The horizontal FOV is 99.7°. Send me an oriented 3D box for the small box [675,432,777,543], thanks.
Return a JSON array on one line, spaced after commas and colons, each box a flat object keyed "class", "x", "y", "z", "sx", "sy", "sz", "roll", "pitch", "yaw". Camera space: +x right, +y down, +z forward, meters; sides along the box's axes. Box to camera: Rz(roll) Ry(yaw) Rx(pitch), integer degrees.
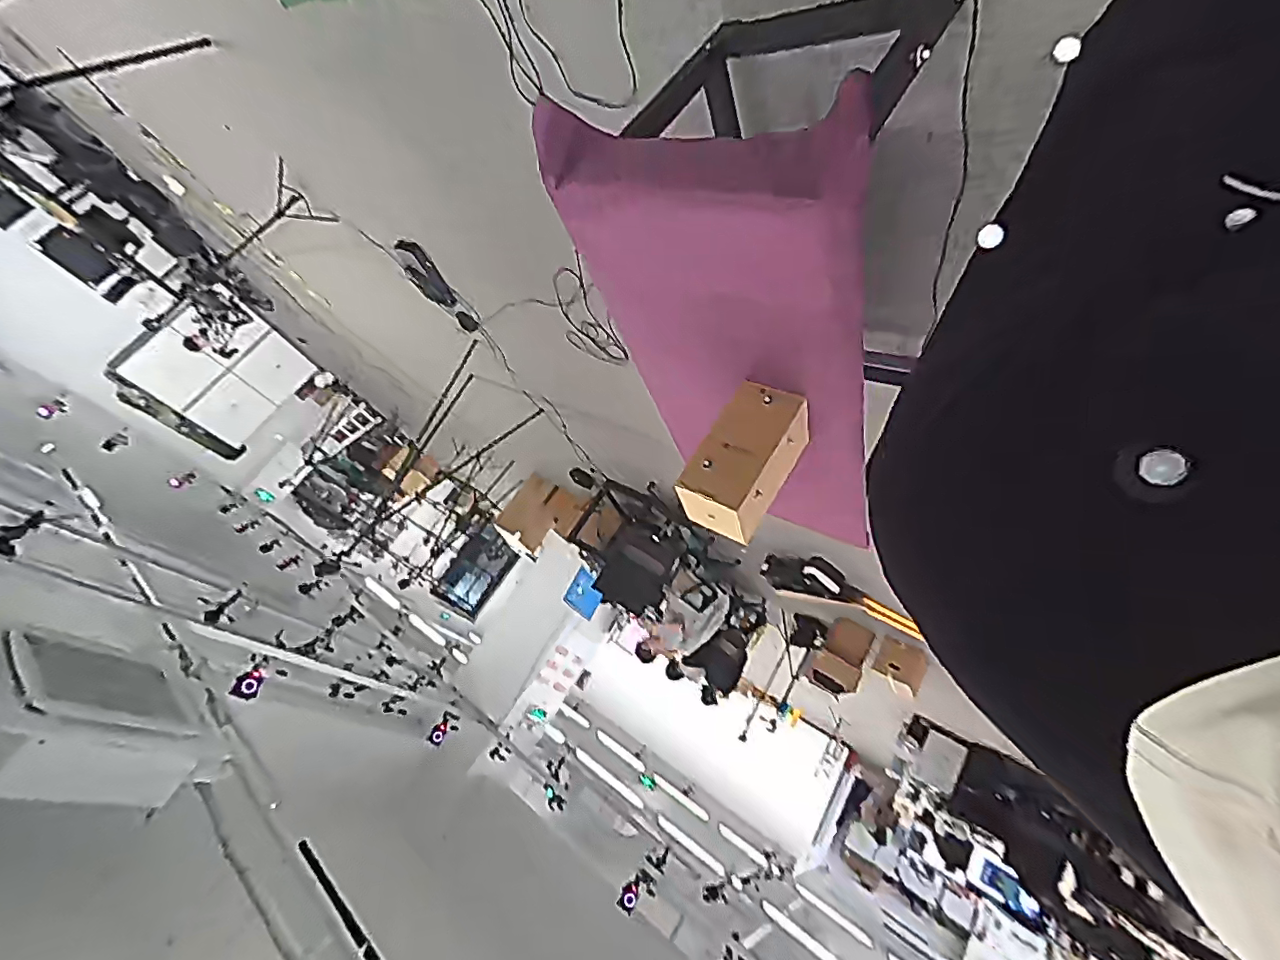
[{"class": "small box", "x": 0.209, "y": 0.014, "z": 1.270, "sx": 0.168, "sy": 0.176, "sz": 0.179, "roll": 25, "pitch": 159, "yaw": 29}]
